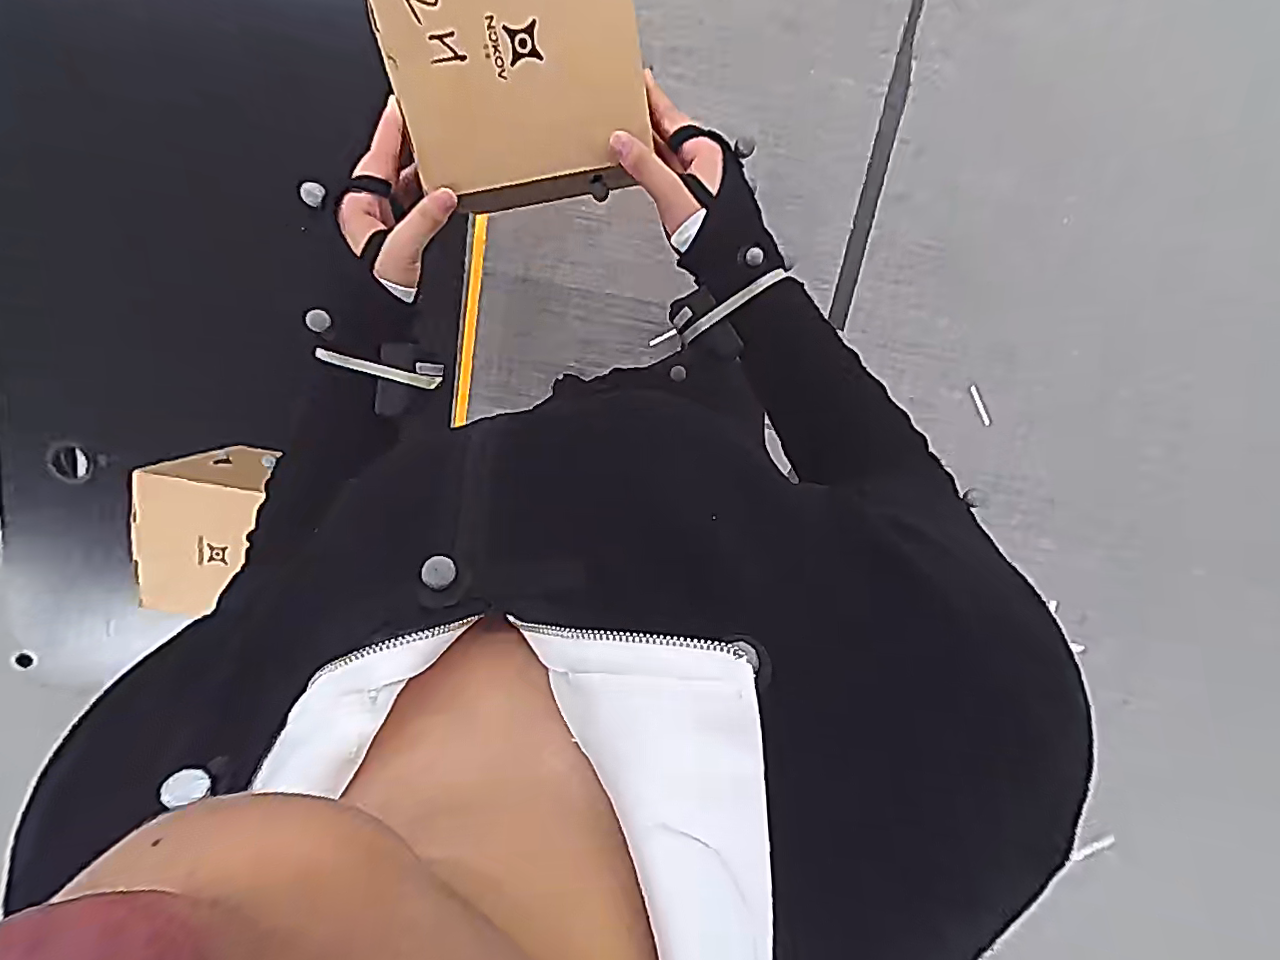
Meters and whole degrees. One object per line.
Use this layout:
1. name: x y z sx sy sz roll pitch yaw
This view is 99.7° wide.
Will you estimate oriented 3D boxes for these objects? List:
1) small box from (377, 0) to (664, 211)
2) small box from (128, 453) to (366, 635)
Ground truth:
1. small box: -0.083 -0.321 0.433 0.179 0.176 0.168 -9 112 2
2. small box: -0.474 0.068 0.674 0.179 0.176 0.168 9 103 -4
